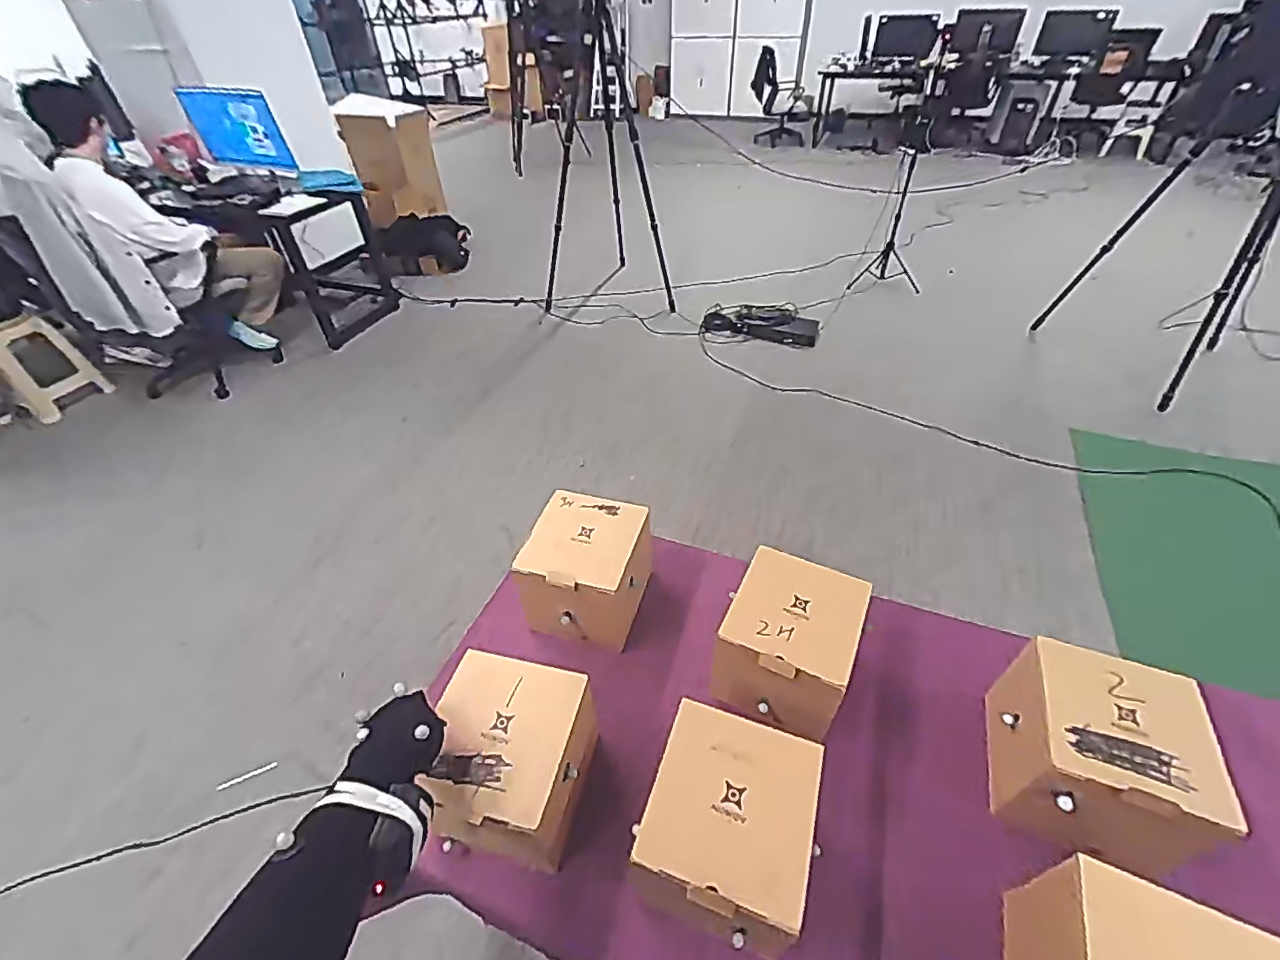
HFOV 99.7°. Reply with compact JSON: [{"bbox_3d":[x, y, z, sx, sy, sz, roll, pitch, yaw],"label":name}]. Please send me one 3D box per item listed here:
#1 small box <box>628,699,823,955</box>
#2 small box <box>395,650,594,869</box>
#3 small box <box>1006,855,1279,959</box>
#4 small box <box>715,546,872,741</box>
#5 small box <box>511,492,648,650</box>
[{"bbox_3d":[0.097,0.390,0.611,0.168,0.176,0.179,14,44,16],"label":"small box"},{"bbox_3d":[-0.161,0.346,0.671,0.168,0.176,0.179,9,42,11],"label":"small box"},{"bbox_3d":[0.452,0.488,0.483,0.168,0.176,0.179,17,46,21],"label":"small box"},{"bbox_3d":[0.213,0.232,0.777,0.168,0.176,0.179,18,47,22],"label":"small box"},{"bbox_3d":[-0.085,0.149,0.884,0.168,0.176,0.179,11,45,13],"label":"small box"}]
